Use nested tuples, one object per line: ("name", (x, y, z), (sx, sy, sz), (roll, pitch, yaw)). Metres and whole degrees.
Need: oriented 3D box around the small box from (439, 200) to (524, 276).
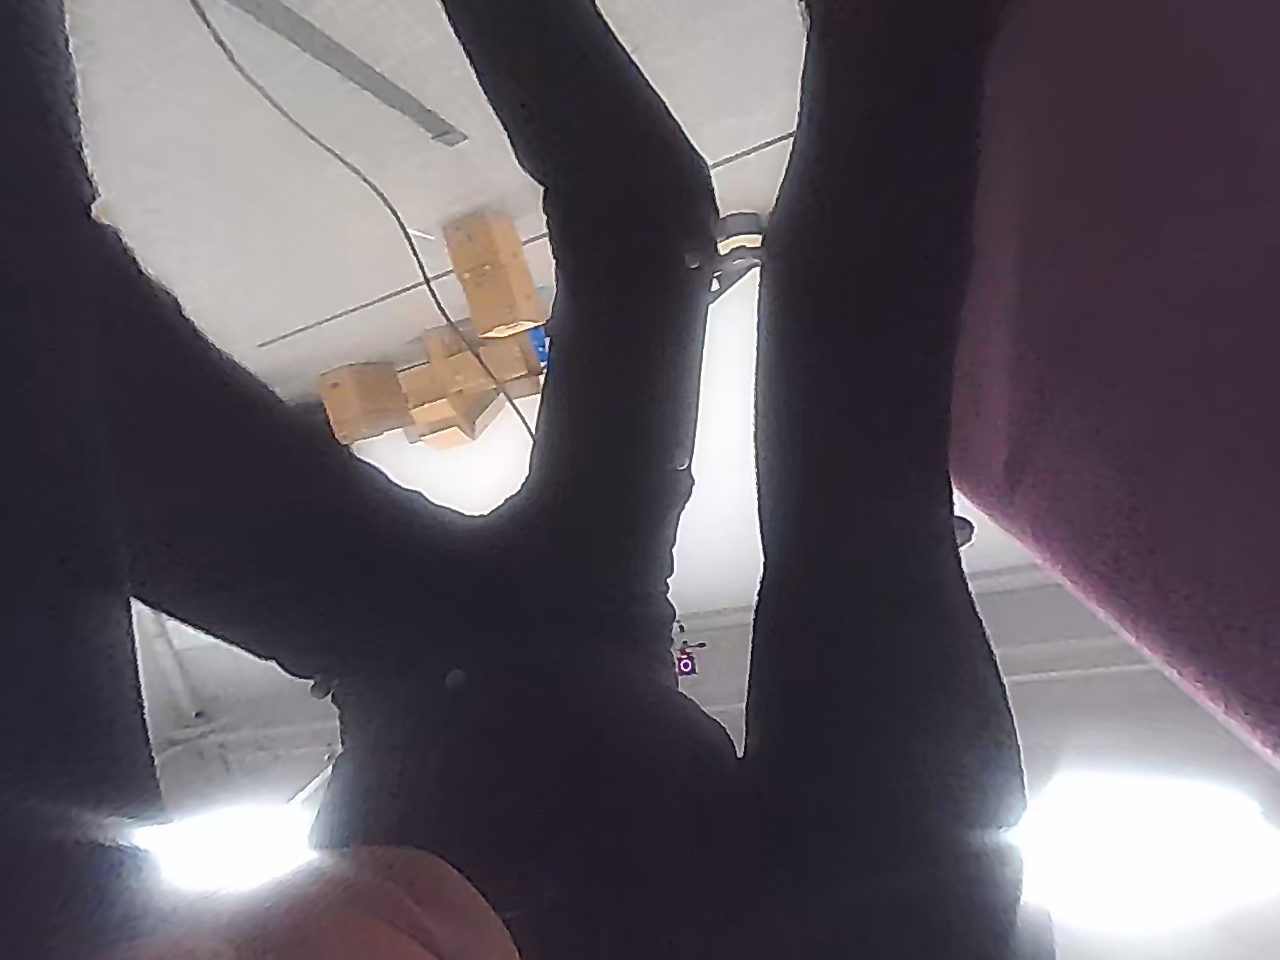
("small box", (-0.495, -0.756, 1.696), (0.168, 0.176, 0.179), (-12, -169, 20))
